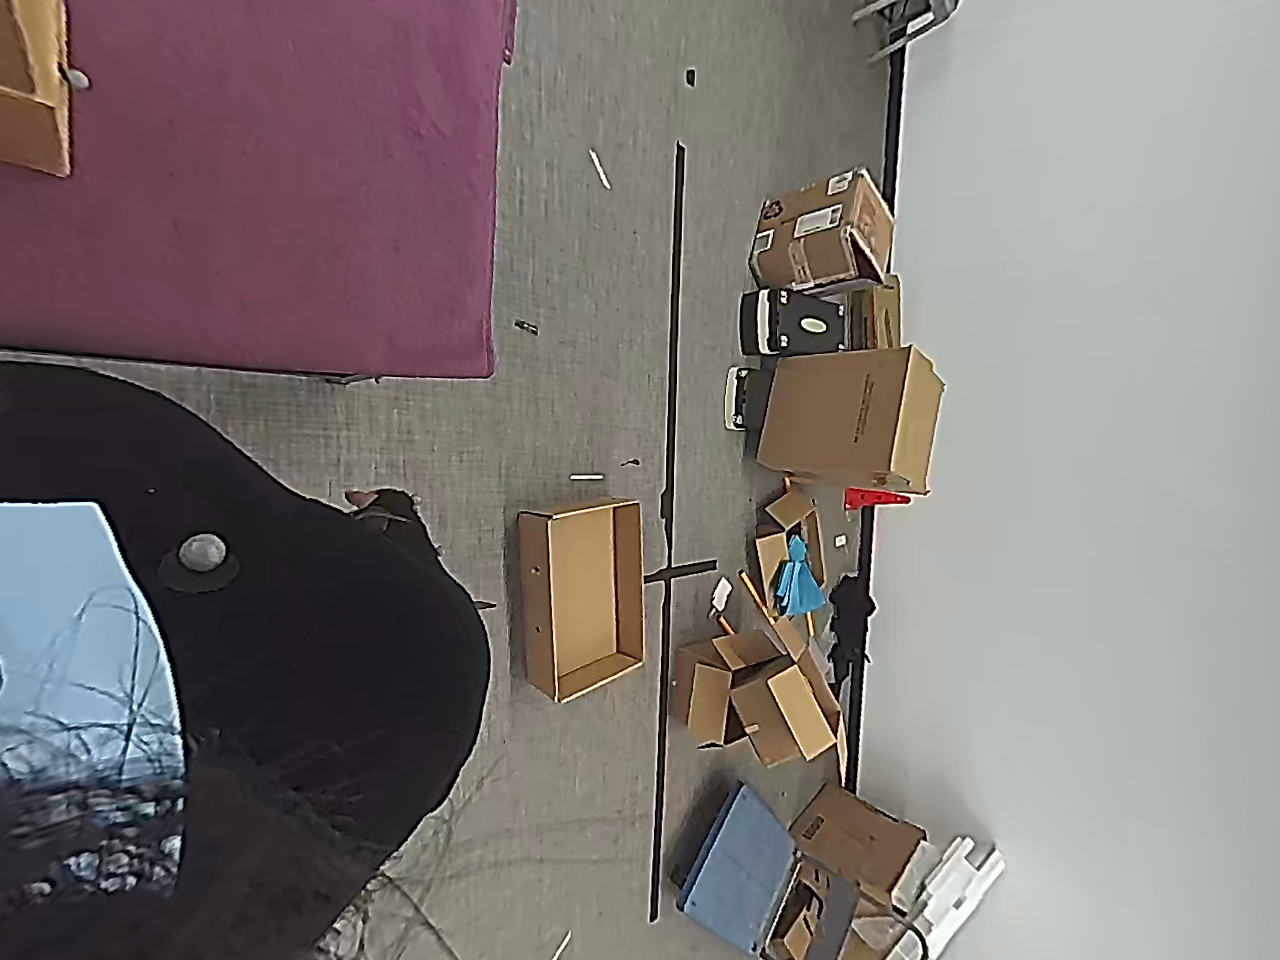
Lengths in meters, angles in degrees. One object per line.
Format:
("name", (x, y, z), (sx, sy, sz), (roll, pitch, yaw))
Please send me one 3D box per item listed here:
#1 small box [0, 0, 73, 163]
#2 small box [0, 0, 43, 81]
("small box", (-0.574, -0.381, 0.425), (0.179, 0.176, 0.168), (-1, 95, -44))
("small box", (-0.464, -0.377, 0.302), (0.168, 0.176, 0.179), (-1, 95, -44))
